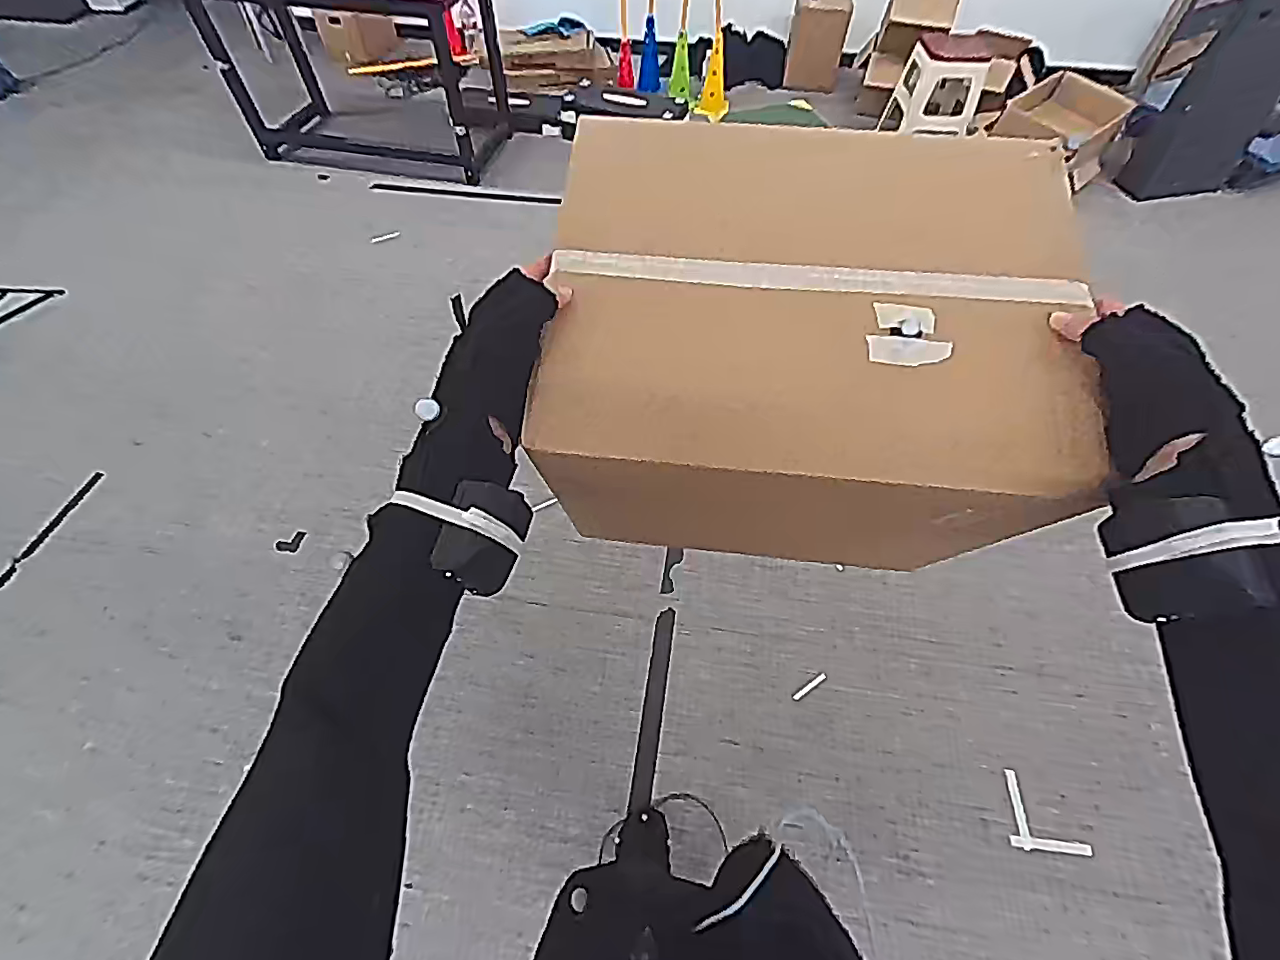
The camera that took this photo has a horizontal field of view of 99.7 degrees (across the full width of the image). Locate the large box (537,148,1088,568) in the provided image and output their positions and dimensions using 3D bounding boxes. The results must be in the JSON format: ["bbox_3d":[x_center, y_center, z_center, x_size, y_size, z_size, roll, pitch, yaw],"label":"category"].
[{"bbox_3d":[0.135,-0.097,0.575,0.408,0.320,0.320,5,73,3],"label":"large box"}]
